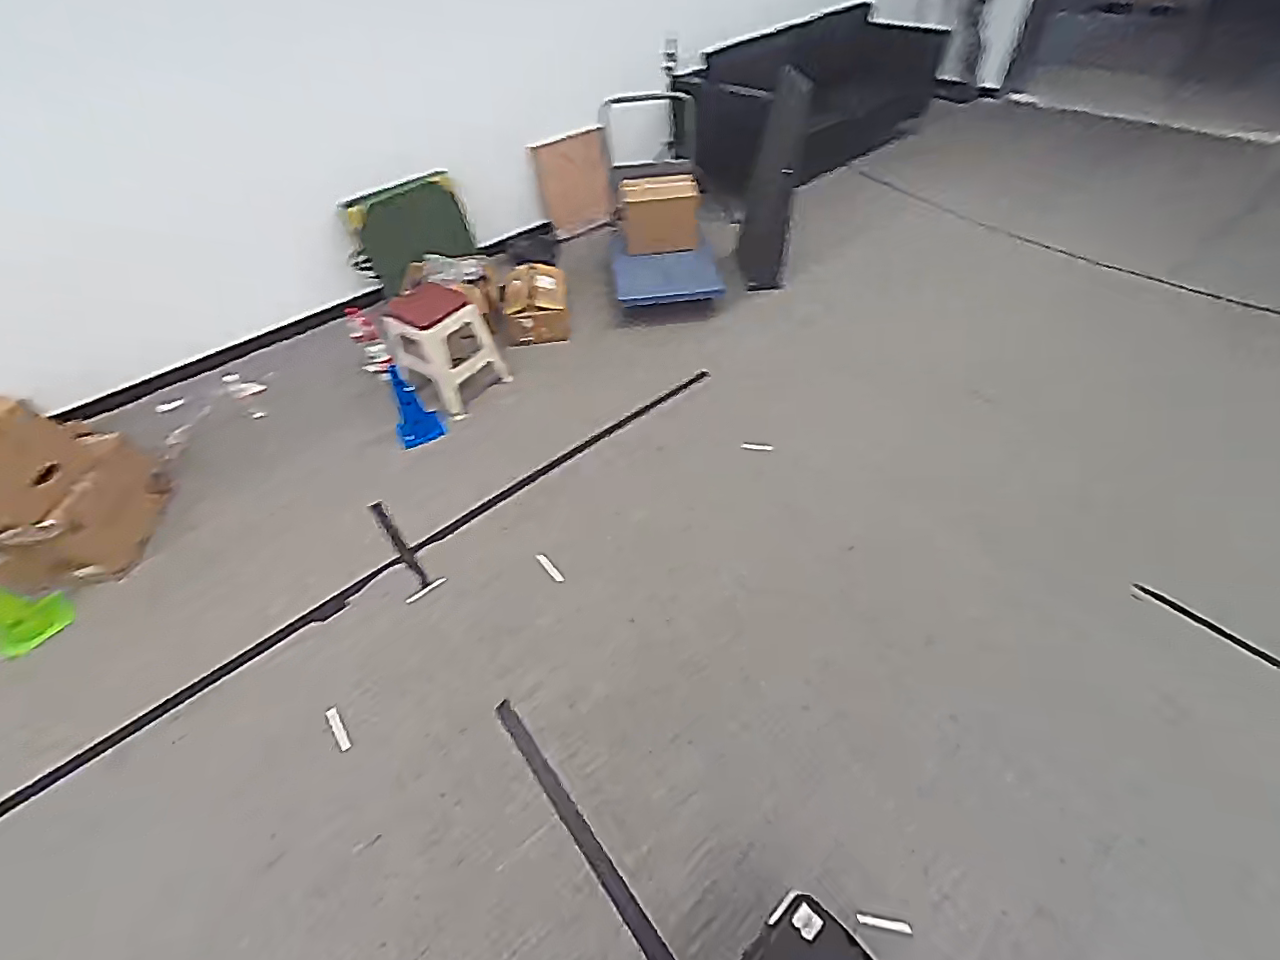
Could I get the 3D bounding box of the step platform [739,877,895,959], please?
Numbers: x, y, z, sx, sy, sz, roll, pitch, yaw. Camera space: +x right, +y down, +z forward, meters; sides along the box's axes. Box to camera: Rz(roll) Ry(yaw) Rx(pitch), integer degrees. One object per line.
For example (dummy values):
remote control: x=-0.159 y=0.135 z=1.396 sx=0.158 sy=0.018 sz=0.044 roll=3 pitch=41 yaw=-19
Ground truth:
step platform: x=0.234 y=1.164 z=1.058 sx=0.684 sy=0.204 sz=0.286 roll=-35 pitch=54 yaw=-25
